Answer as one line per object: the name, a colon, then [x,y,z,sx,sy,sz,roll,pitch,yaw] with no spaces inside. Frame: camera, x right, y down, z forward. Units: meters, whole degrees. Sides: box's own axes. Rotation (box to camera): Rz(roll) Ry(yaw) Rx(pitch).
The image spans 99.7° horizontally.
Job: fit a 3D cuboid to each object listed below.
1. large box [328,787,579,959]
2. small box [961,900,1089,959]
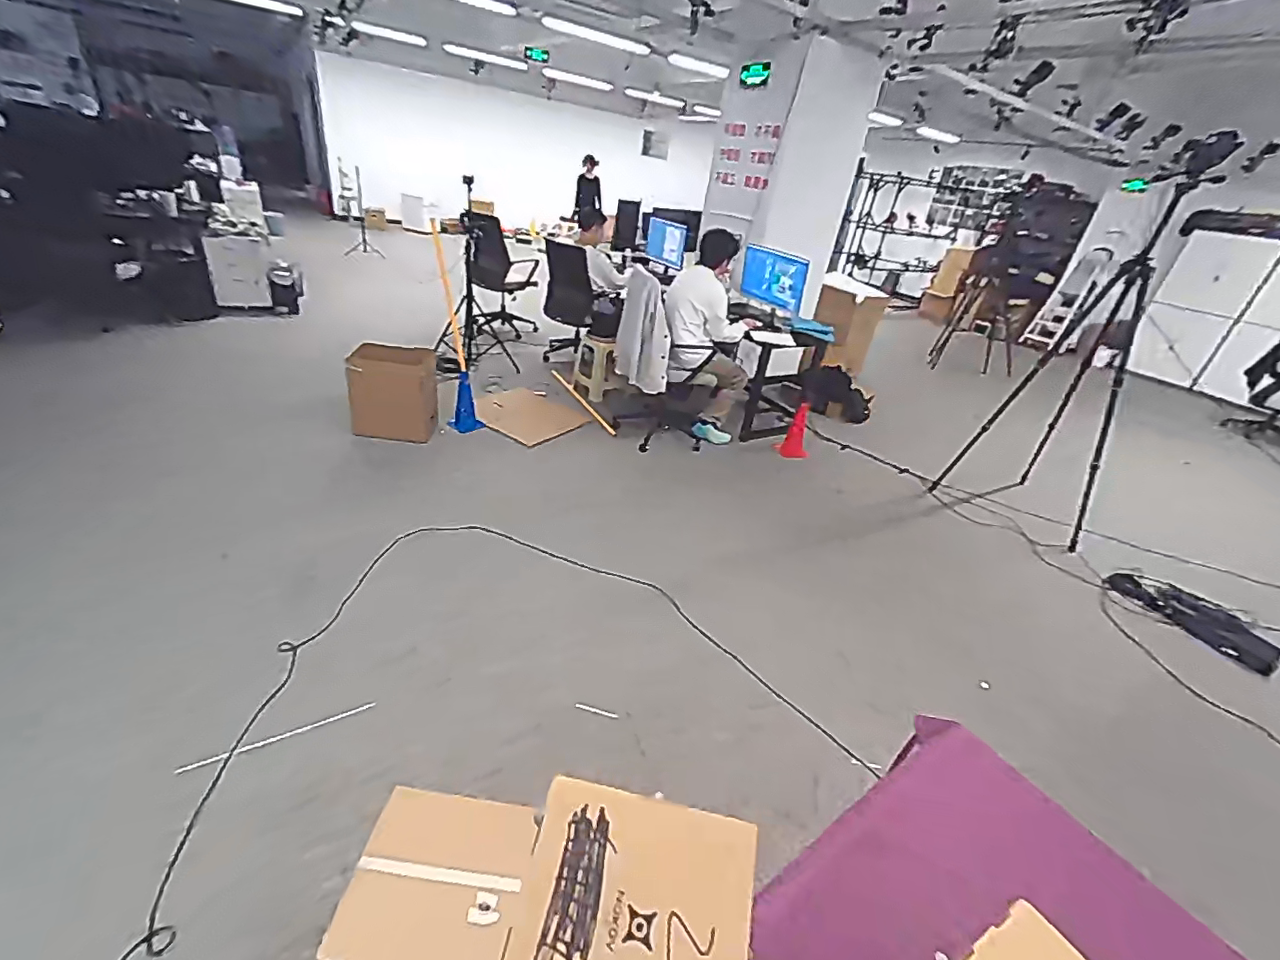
large box: [-0.364,0.914,1.145,0.408,0.320,0.320,10,31,0]
small box: [0.406,0.601,0.556,0.168,0.176,0.179,-11,34,-29]
